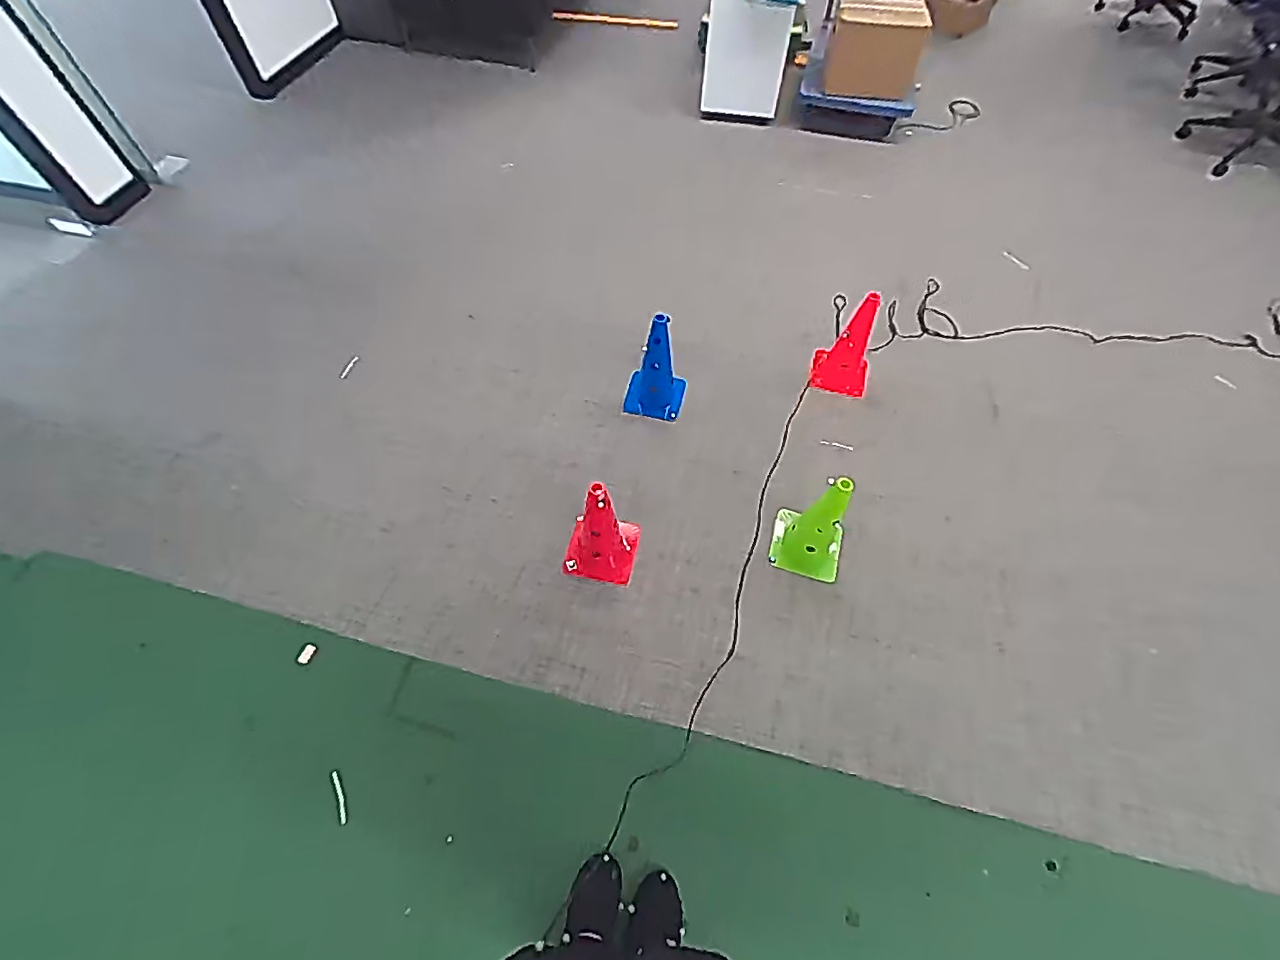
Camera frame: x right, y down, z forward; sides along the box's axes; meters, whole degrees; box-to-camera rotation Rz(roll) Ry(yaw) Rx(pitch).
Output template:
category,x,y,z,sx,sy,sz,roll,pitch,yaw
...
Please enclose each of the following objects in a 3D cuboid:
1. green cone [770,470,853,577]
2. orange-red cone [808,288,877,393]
category,x,y,z,sx,sy,sz,roll,pitch,yaw
green cone,0.505,0.091,1.480,0.200,0.368,0.202,15,58,8
orange-red cone,0.729,-0.499,1.850,0.198,0.360,0.199,16,61,10
